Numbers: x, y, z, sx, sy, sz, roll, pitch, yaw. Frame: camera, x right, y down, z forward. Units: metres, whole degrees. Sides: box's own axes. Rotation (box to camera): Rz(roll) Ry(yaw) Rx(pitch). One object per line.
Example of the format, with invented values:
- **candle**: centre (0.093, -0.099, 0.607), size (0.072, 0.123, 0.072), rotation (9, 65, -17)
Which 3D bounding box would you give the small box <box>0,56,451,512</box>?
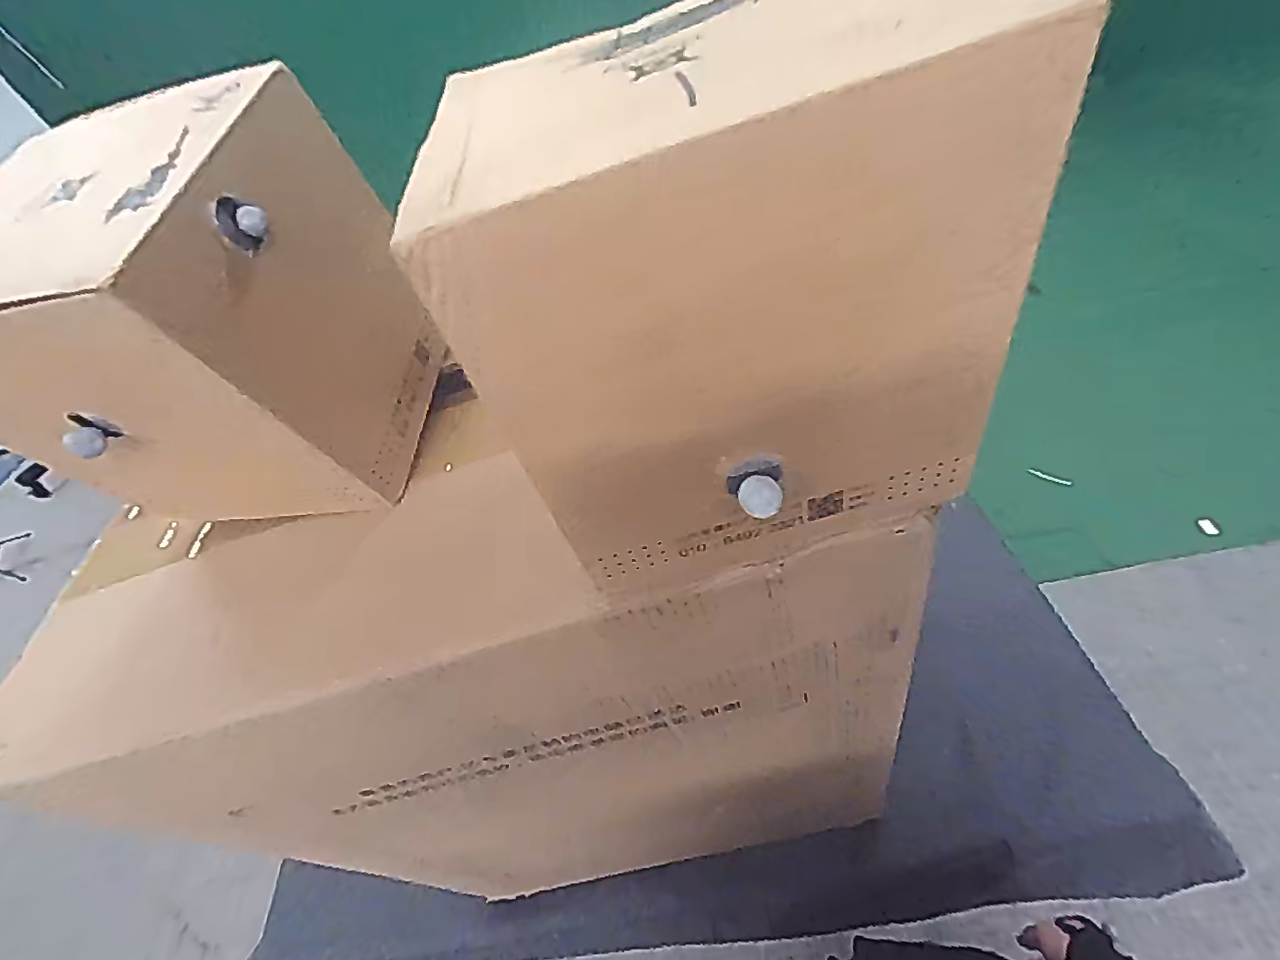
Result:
- **small box**: centre (-0.244, -0.090, 0.312), size (0.179, 0.176, 0.168), rotation (-5, 60, 14)
